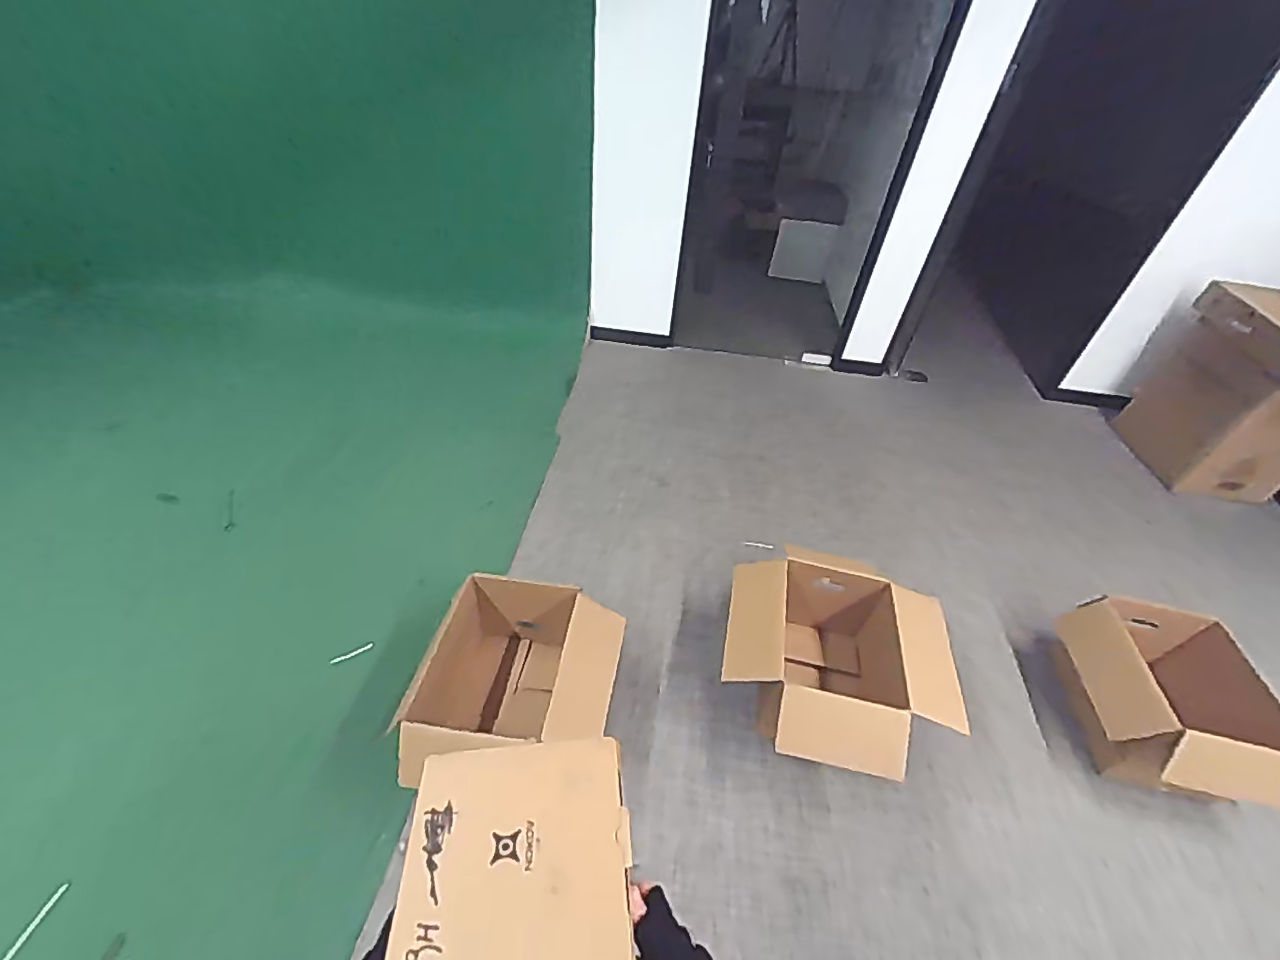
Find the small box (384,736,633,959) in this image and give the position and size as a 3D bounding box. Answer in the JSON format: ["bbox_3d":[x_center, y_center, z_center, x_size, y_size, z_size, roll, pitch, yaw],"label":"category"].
[{"bbox_3d":[-0.102,0.355,0.488,0.179,0.176,0.168,-1,37,-5],"label":"small box"}]
